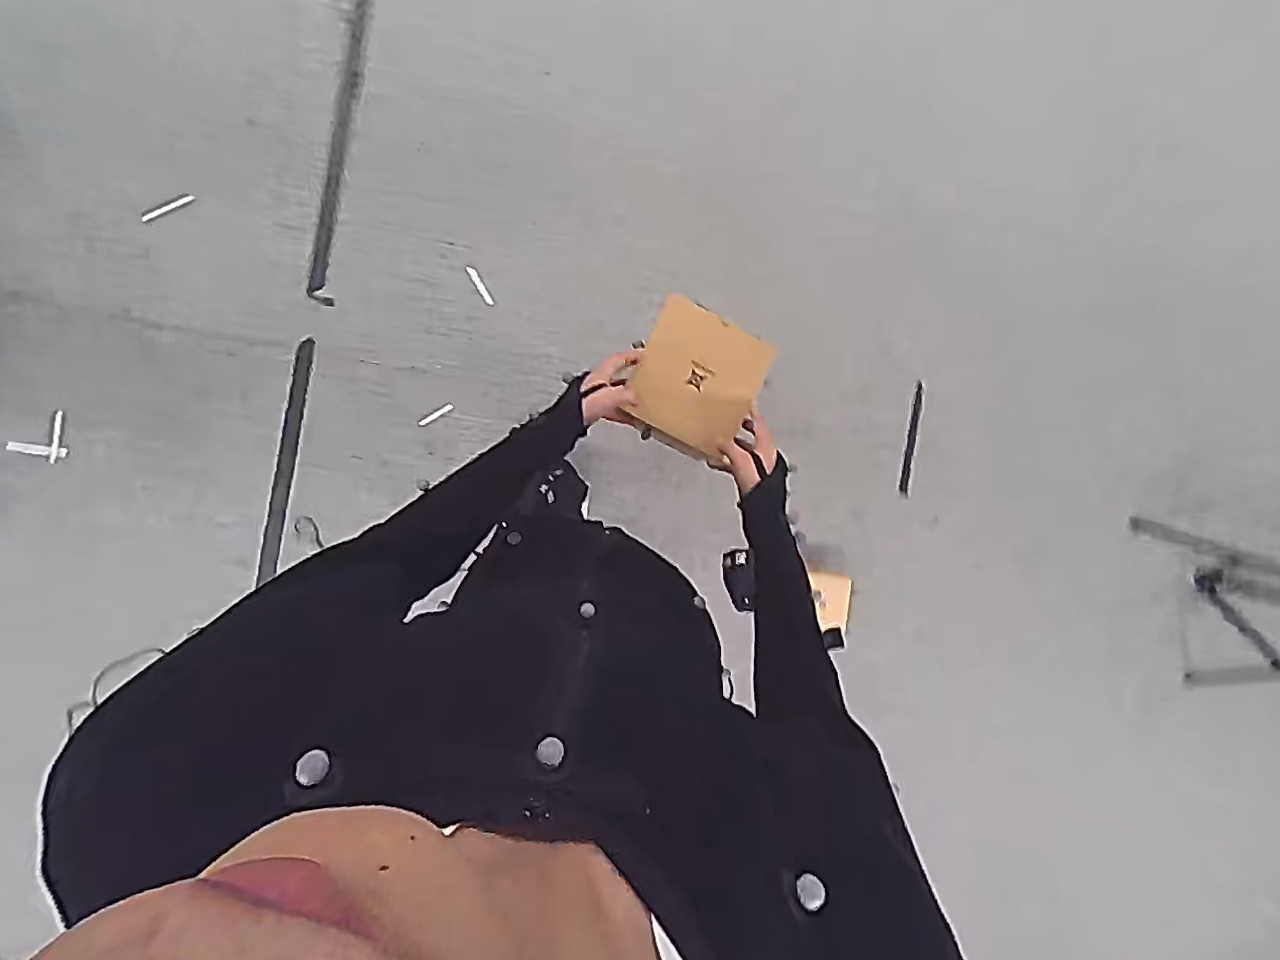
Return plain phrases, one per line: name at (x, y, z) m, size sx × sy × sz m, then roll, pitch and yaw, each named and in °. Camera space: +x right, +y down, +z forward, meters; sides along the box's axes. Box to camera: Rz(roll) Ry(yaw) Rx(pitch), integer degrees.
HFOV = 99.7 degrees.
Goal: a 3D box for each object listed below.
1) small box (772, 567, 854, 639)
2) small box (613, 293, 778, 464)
small box at (0.509, 0.362, 1.615) m, size 0.179 × 0.176 × 0.168 m, roll 7°, pitch 92°, yaw -7°
small box at (0.070, -0.134, 0.790) m, size 0.168 × 0.176 × 0.179 m, roll 27°, pitch 88°, yaw -5°
